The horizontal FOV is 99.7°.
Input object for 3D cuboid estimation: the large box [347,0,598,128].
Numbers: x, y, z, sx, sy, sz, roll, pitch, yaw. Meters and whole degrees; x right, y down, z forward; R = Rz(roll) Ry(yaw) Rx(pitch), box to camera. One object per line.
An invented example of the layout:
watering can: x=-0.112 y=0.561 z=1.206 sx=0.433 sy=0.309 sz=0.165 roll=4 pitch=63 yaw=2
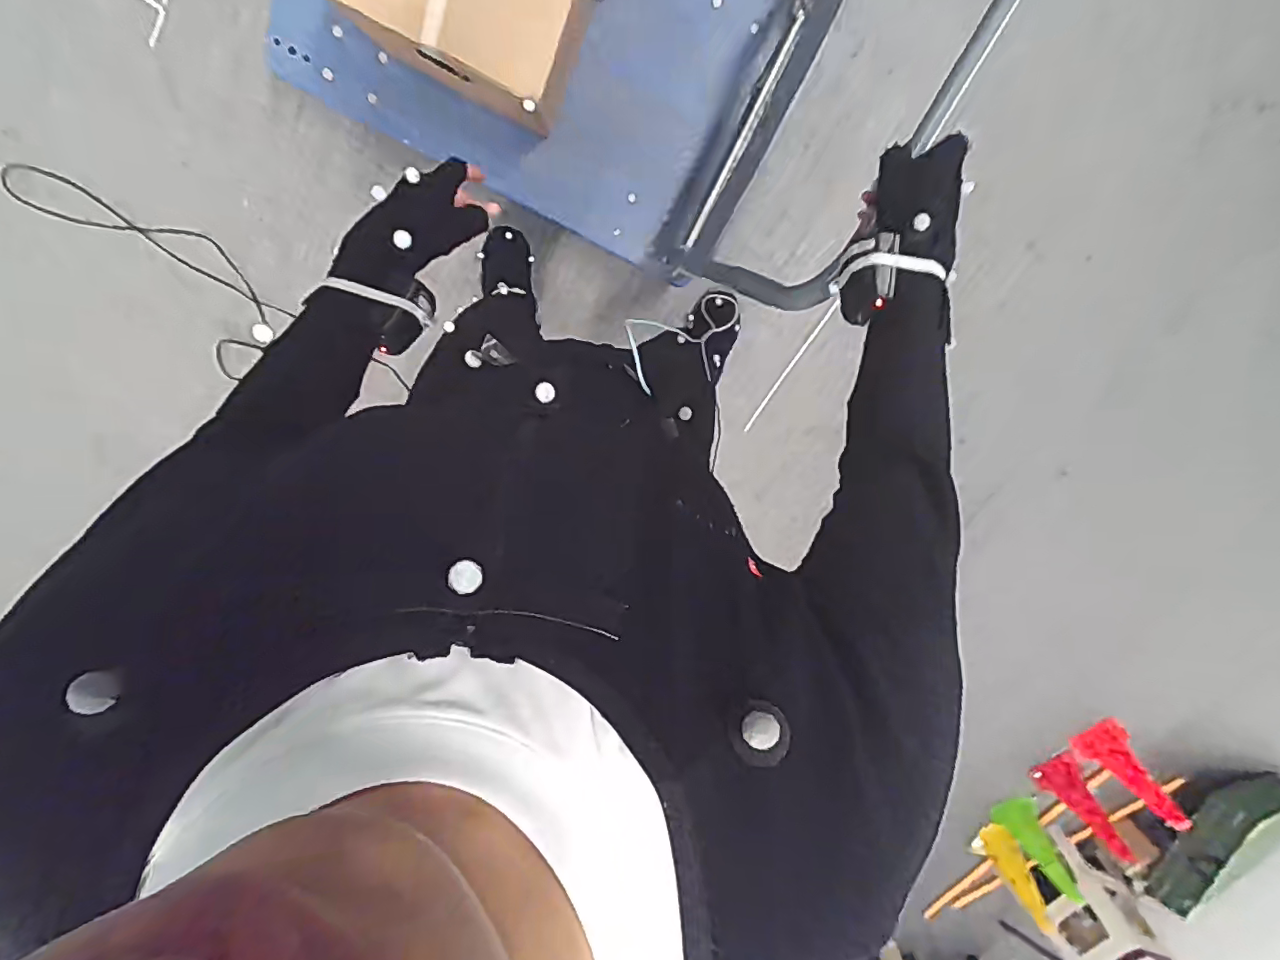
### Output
large box: x=-0.205 y=-0.826 z=0.800 sx=0.320 sy=0.320 sz=0.408 roll=21 pitch=112 yaw=-14
